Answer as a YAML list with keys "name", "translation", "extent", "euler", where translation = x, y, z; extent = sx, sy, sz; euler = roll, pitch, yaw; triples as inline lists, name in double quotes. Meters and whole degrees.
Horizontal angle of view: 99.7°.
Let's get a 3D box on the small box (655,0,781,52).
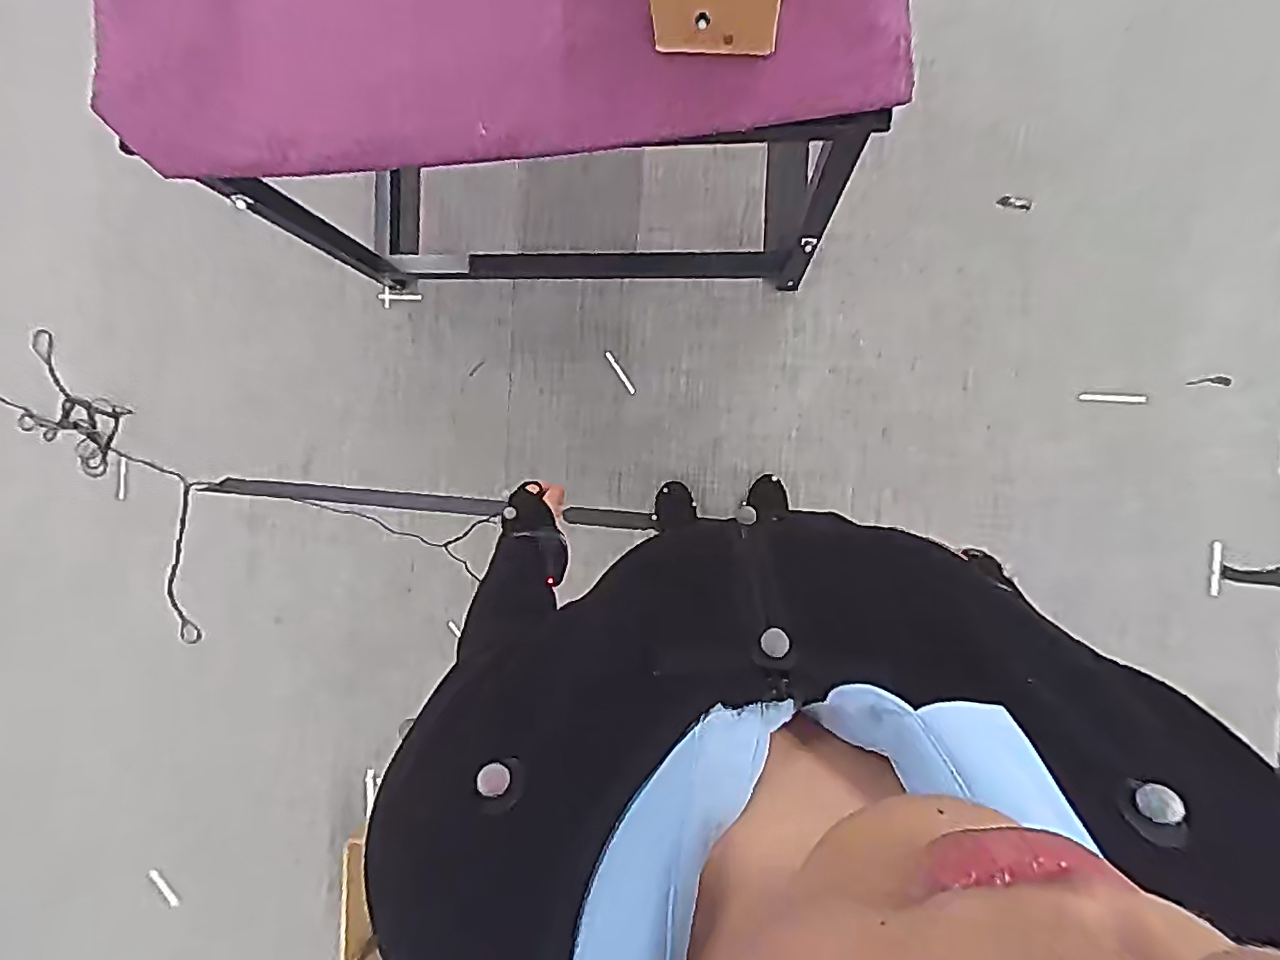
- name: "small box"
  translation: [0.106, -0.691, 0.678]
  extent: [0.168, 0.176, 0.179]
  euler: [7, 91, 7]
